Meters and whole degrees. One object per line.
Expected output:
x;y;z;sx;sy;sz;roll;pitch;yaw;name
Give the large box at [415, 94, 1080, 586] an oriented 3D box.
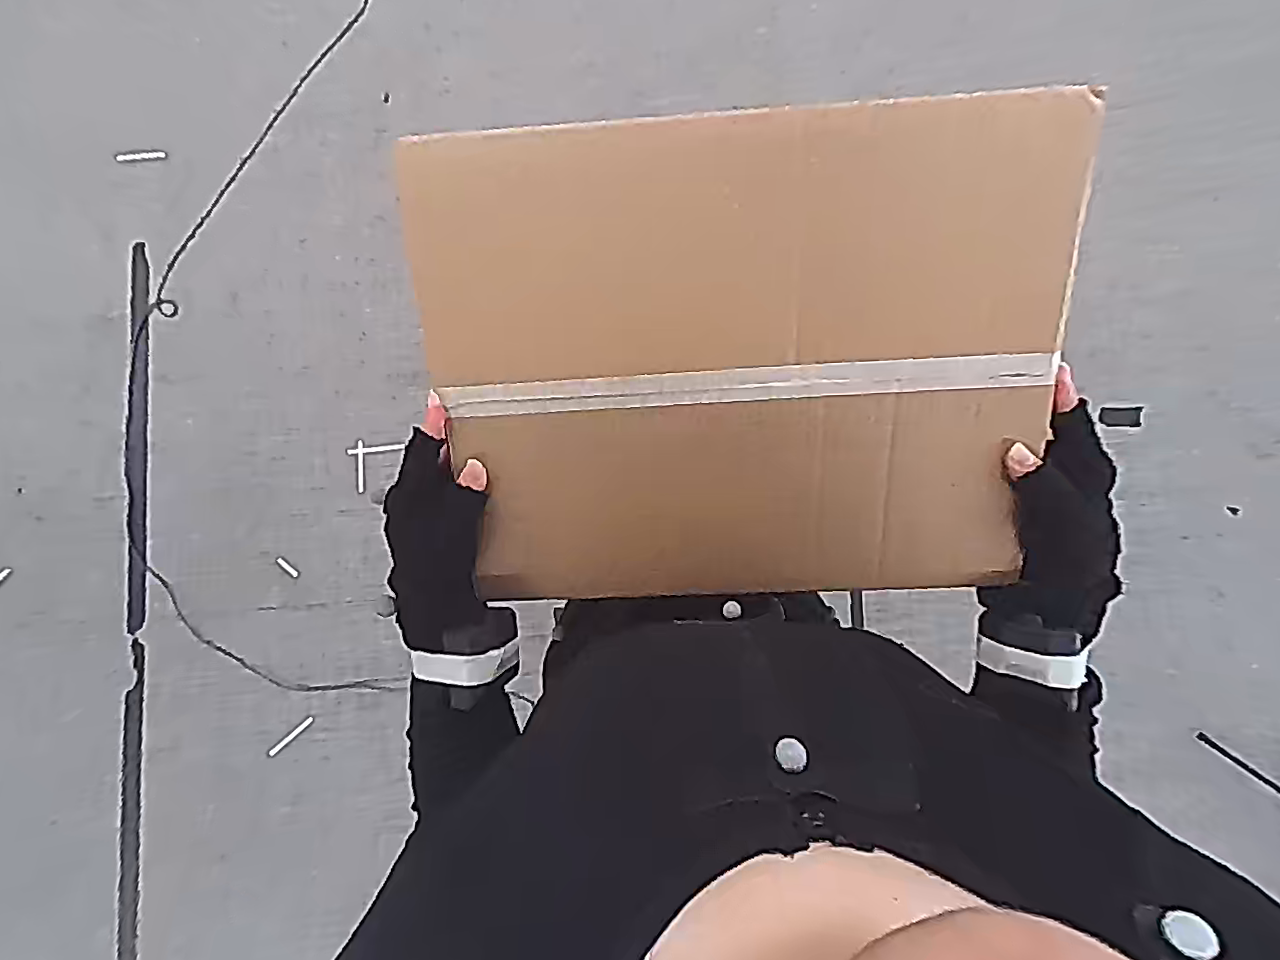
0.070;-0.117;0.509;0.408;0.320;0.320;-2;110;3;large box
